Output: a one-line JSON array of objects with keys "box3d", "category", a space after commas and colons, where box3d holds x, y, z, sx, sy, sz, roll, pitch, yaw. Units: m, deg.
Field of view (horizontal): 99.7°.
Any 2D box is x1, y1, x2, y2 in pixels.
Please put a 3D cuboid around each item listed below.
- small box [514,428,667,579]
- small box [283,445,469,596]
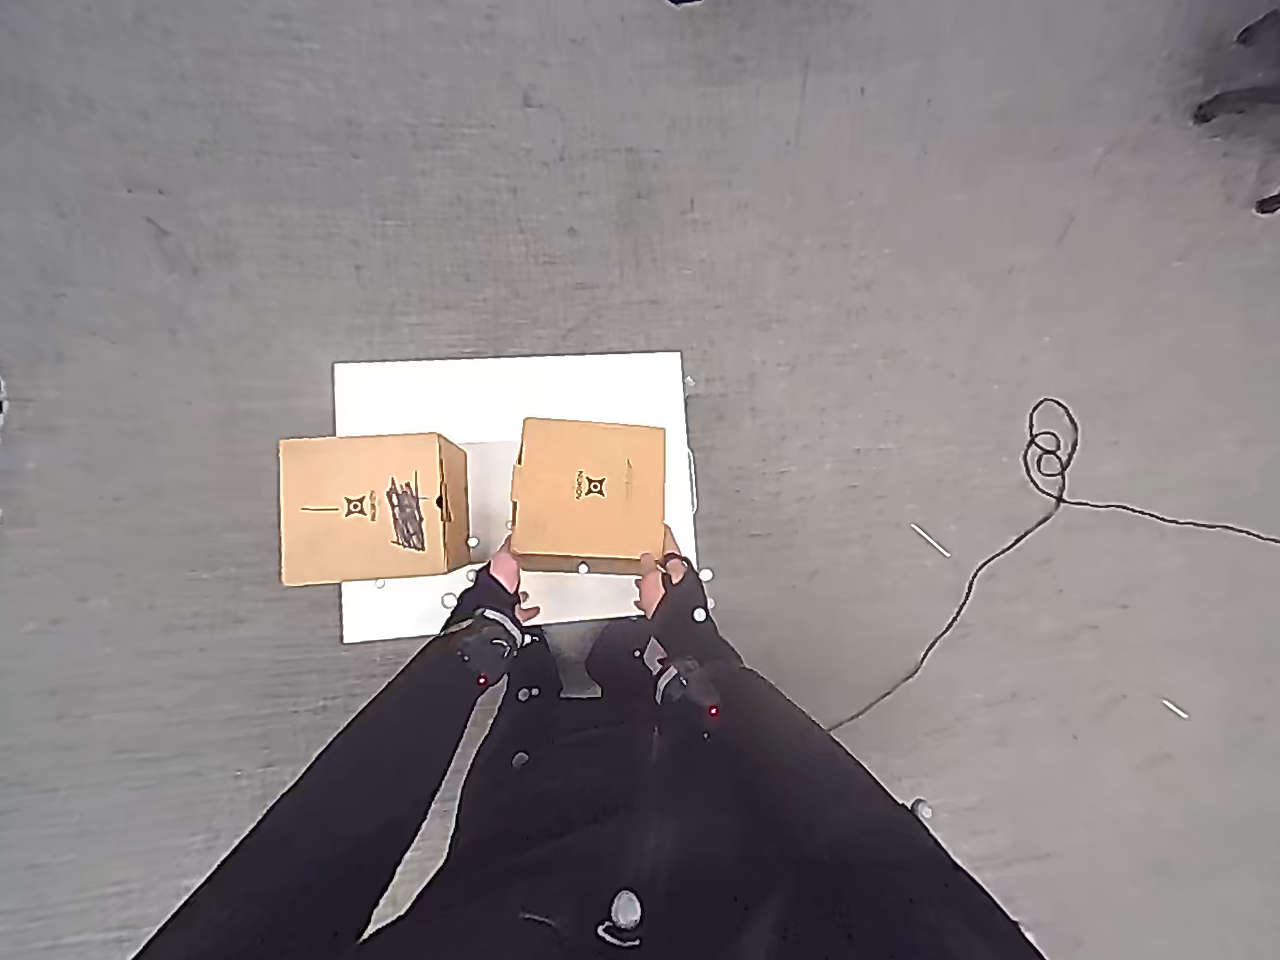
[{"box3d": [-0.064, 0.040, 0.711, 0.179, 0.176, 0.168, 3, 74, -8], "category": "small box"}, {"box3d": [-0.319, 0.050, 0.689, 0.179, 0.176, 0.168, -4, 85, -7], "category": "small box"}]
